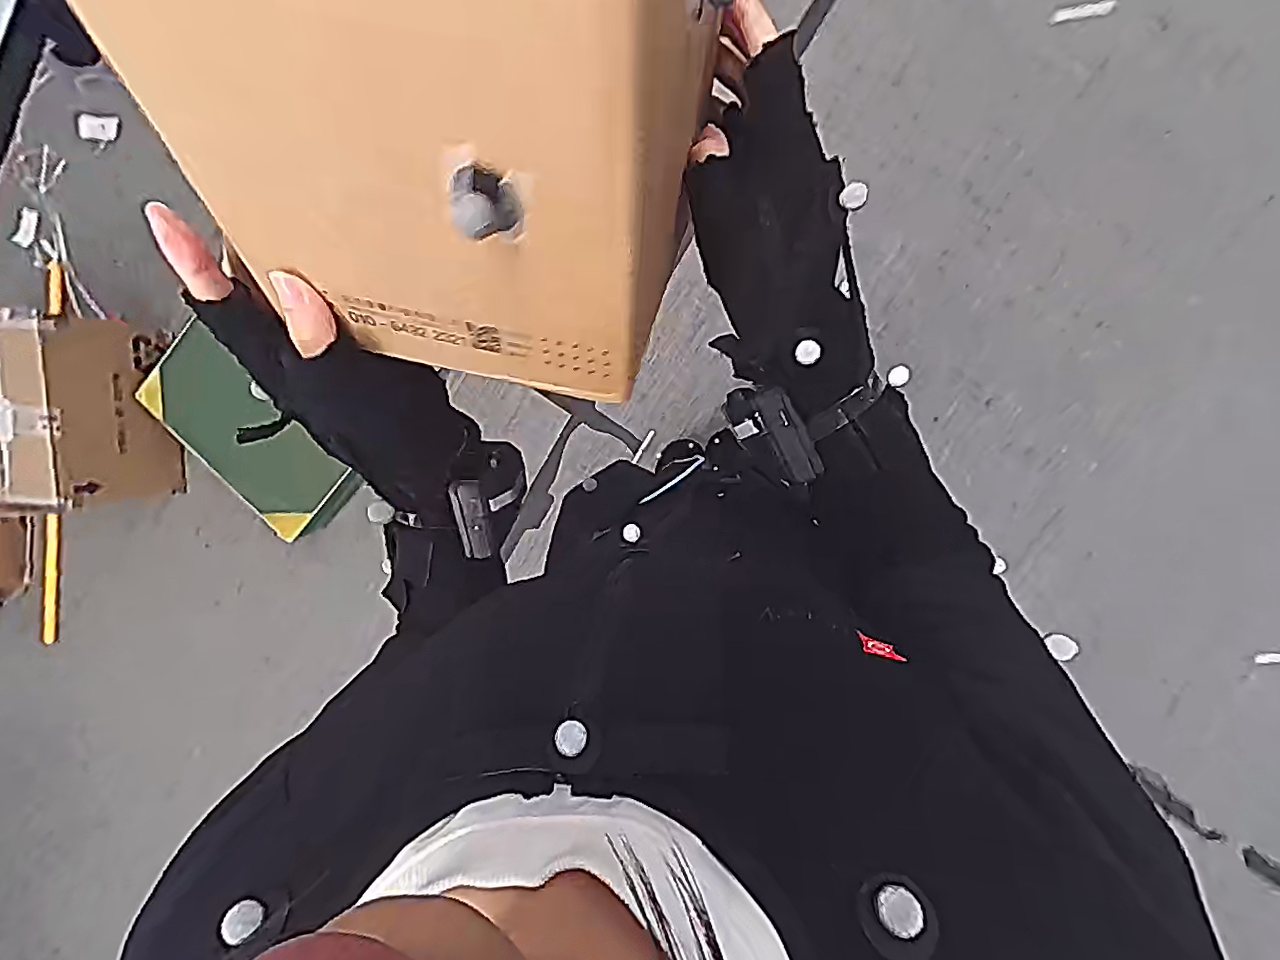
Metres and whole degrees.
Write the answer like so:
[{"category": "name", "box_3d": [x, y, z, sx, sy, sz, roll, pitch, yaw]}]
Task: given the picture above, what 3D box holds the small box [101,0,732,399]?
[{"category": "small box", "box_3d": [-0.055, -0.160, 0.229, 0.168, 0.176, 0.179, 13, 57, 5]}]
